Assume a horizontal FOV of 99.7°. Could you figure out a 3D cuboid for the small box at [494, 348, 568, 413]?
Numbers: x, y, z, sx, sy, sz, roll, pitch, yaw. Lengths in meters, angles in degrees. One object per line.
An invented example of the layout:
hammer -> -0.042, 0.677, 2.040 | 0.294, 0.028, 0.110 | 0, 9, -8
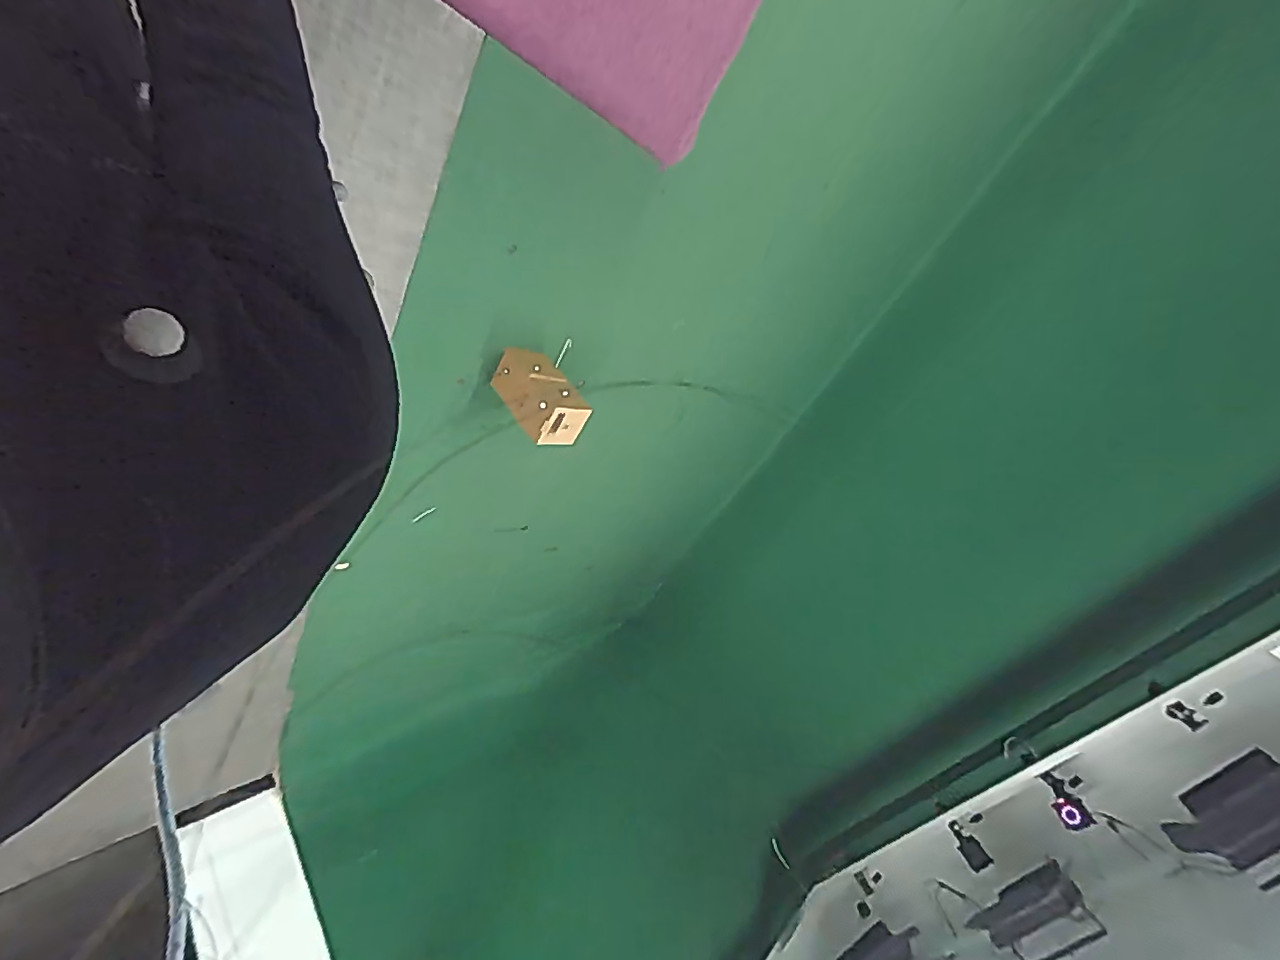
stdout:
small box -> -0.402, -0.365, 1.983 | 0.179, 0.176, 0.168 | -3, 136, -50
